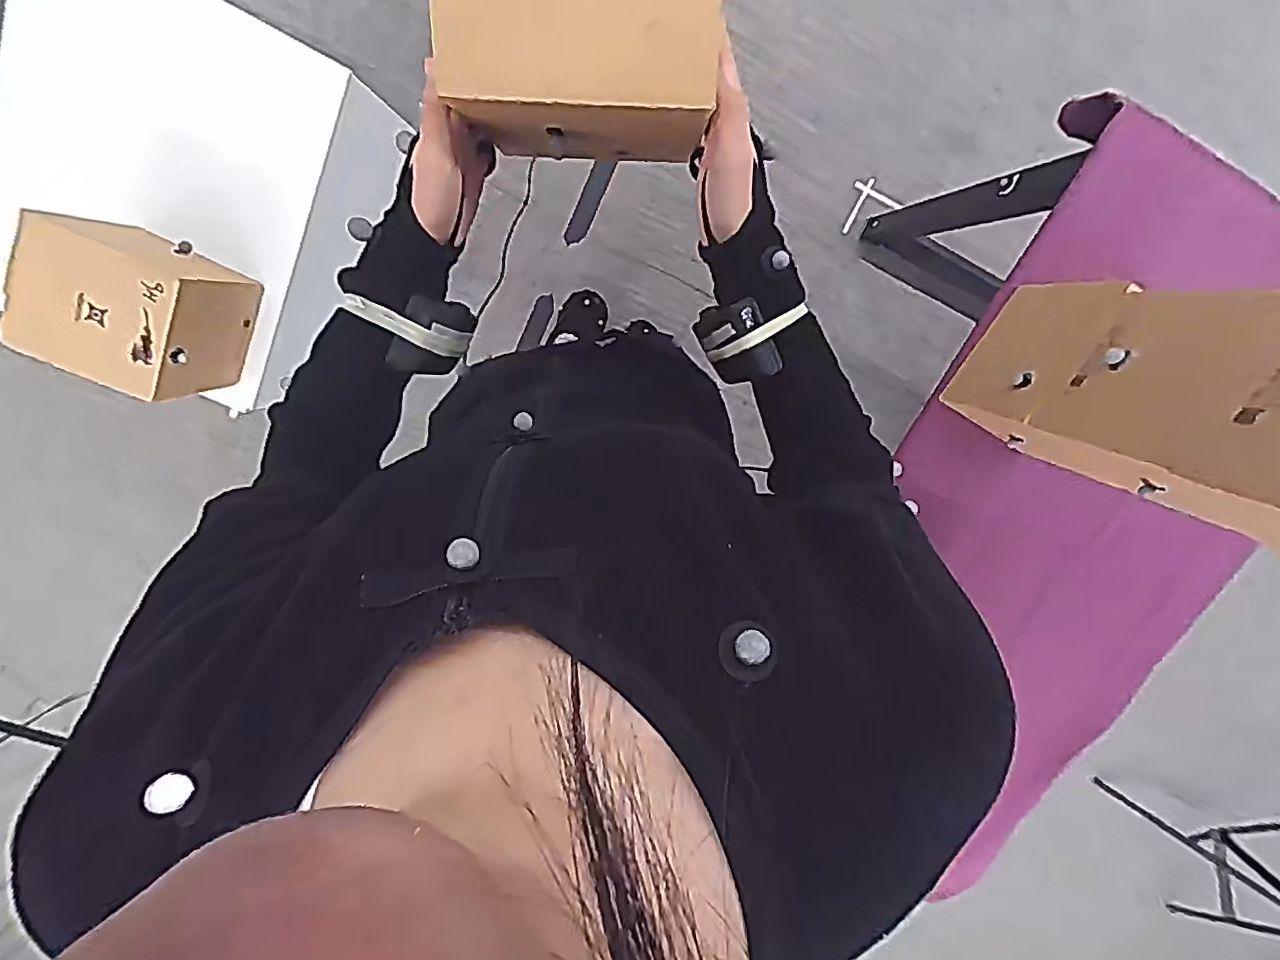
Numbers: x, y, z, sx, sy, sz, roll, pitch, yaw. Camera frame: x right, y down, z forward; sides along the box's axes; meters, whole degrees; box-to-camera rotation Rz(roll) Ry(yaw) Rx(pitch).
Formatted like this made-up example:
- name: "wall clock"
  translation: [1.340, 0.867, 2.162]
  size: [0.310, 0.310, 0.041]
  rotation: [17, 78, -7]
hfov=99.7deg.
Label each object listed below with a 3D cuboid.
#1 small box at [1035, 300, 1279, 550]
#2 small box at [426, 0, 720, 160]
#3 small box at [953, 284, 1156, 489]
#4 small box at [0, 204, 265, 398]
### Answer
- name: "small box"
  translation: [0.551, -0.063, 0.522]
  size: [0.179, 0.176, 0.168]
  rotation: [27, 105, -11]
- name: "small box"
  translation: [-0.034, -0.327, 0.359]
  size: [0.168, 0.176, 0.179]
  rotation: [2, 110, -1]
- name: "small box"
  translation: [0.535, -0.121, 0.675]
  size: [0.168, 0.176, 0.179]
  rotation: [28, 104, -12]
- name: "small box"
  translation: [-0.650, -0.227, 0.712]
  size: [0.179, 0.176, 0.168]
  rotation: [24, 104, -10]
